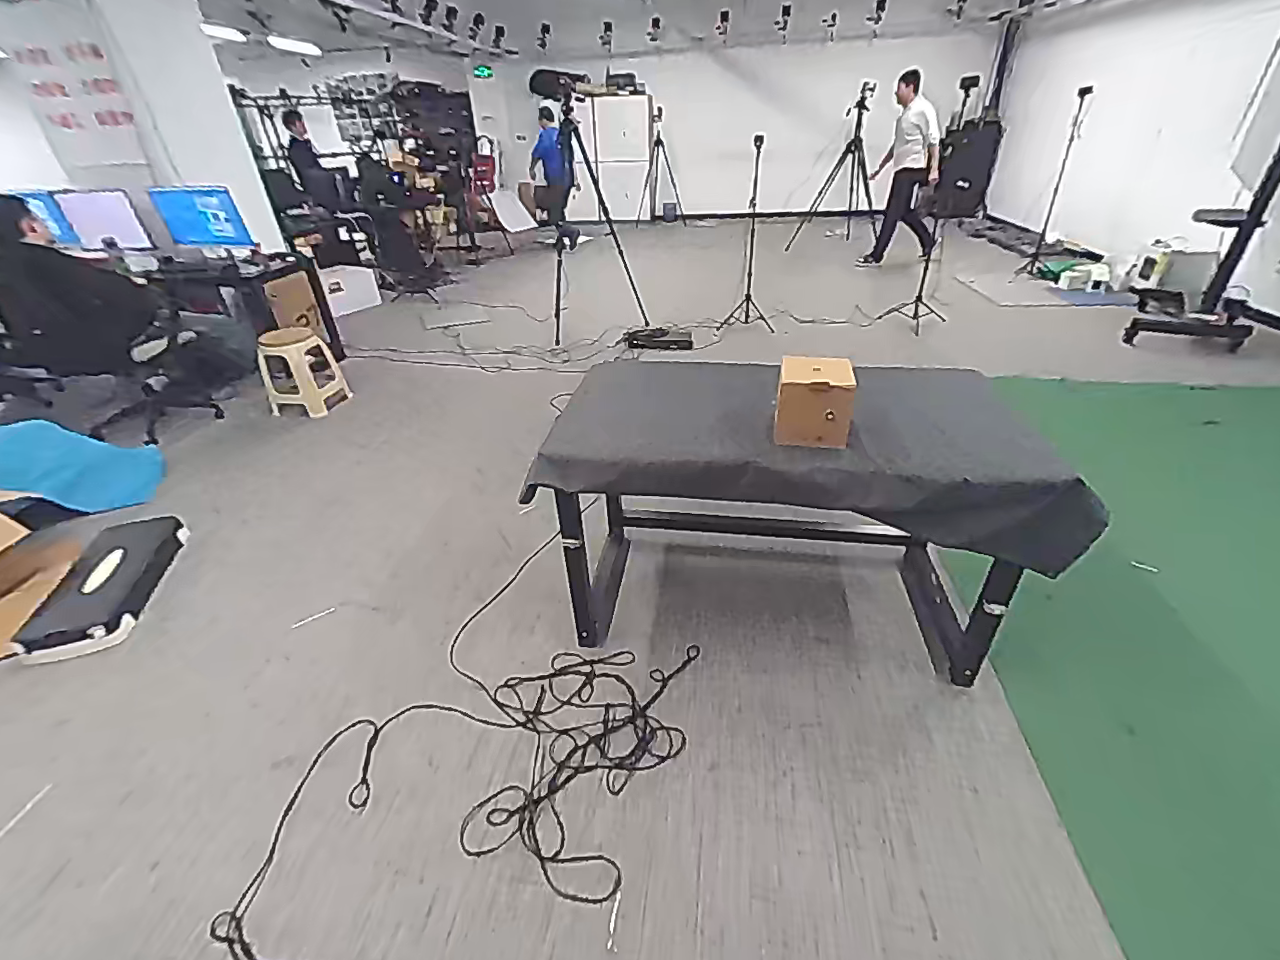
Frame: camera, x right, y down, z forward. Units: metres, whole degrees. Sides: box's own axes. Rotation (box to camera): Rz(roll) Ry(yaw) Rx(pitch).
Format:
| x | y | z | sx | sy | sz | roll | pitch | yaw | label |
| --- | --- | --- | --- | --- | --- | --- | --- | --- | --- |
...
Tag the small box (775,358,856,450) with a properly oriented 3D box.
| x | y | z | sx | sy | sz | roll | pitch | yaw | label |
| --- | --- | --- | --- | --- | --- | --- | --- | --- | --- |
| 0.425 | -0.187 | 1.326 | 0.168 | 0.176 | 0.179 | 6 | 32 | 11 | small box |
